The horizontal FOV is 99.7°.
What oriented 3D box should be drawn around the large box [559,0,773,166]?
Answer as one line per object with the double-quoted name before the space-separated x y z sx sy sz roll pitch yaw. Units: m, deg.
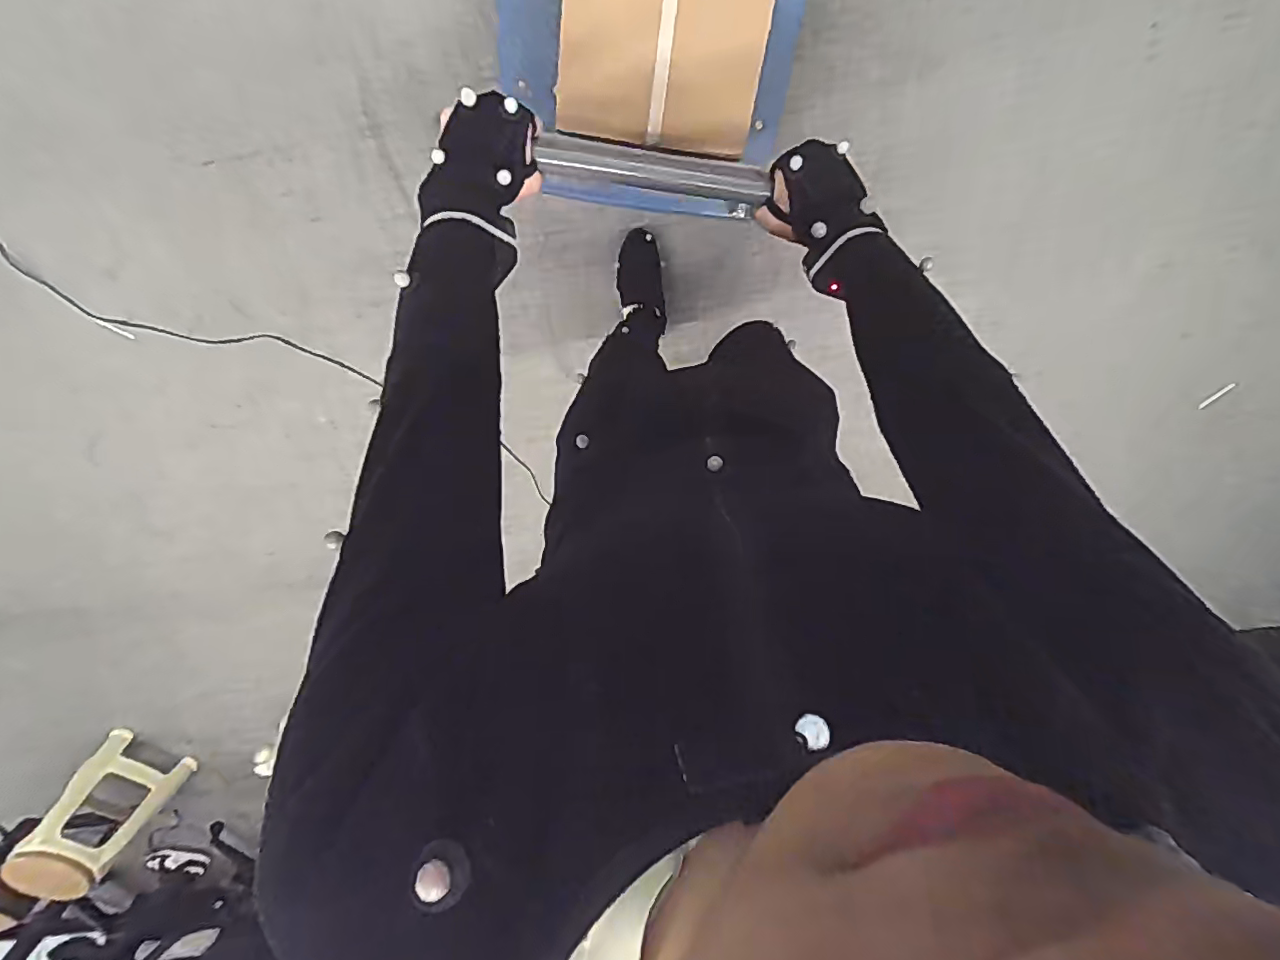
"large box" 0.044 -0.793 0.926 0.320 0.320 0.408 6 117 -6
